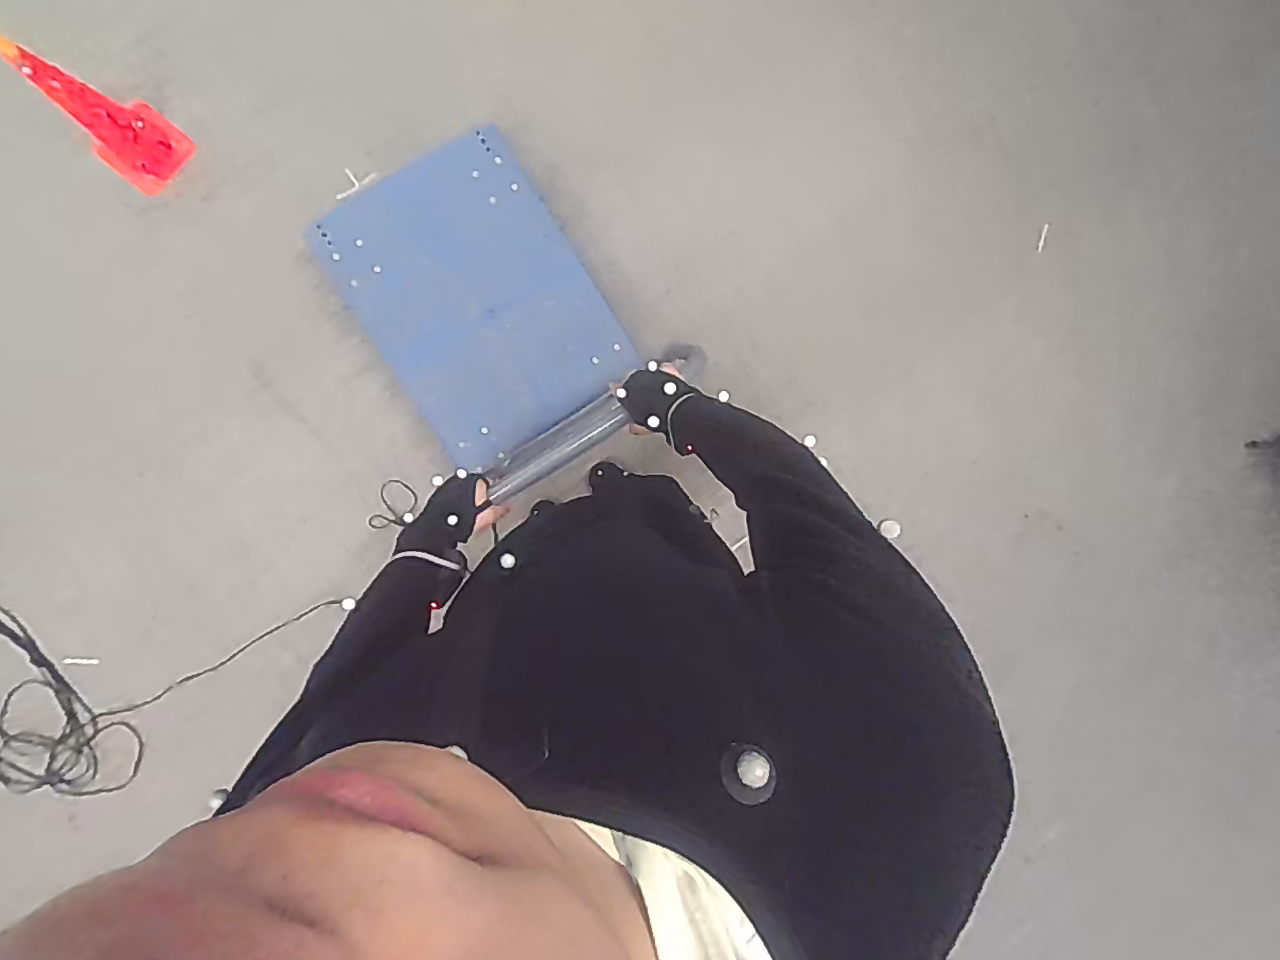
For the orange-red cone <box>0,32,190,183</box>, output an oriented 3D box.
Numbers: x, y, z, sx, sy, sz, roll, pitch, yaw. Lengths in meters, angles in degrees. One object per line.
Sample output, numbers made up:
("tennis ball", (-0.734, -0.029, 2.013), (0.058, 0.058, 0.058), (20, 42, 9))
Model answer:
("orange-red cone", (-1.368, -0.940, 1.326), (0.198, 0.360, 0.199), (40, 90, -4))
